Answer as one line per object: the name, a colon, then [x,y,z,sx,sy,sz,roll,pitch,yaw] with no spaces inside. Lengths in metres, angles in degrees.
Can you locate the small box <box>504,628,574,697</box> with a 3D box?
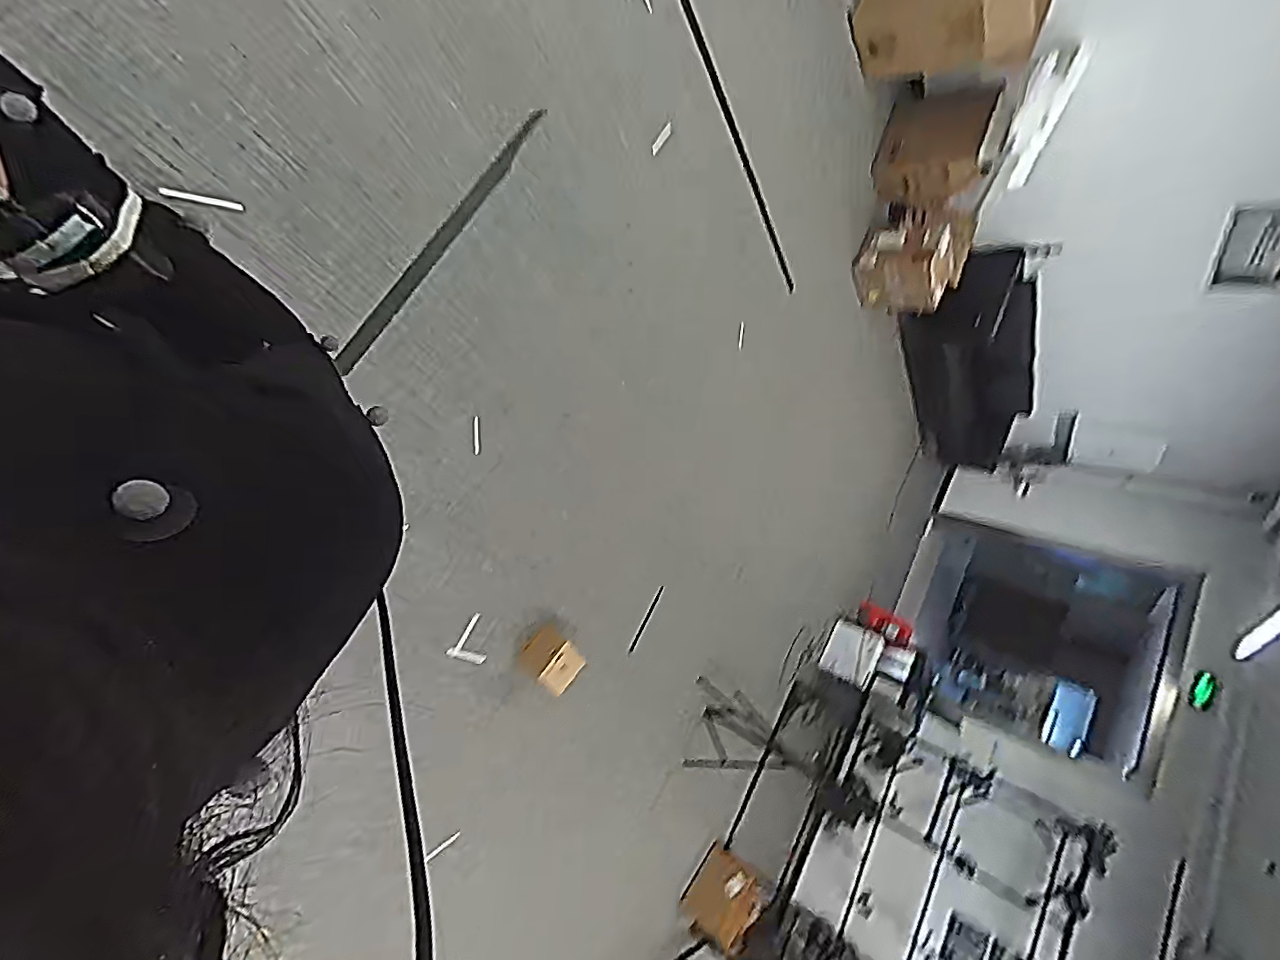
small box: [-0.397,0.713,2.134,0.168,0.176,0.179,-50,136,-26]
